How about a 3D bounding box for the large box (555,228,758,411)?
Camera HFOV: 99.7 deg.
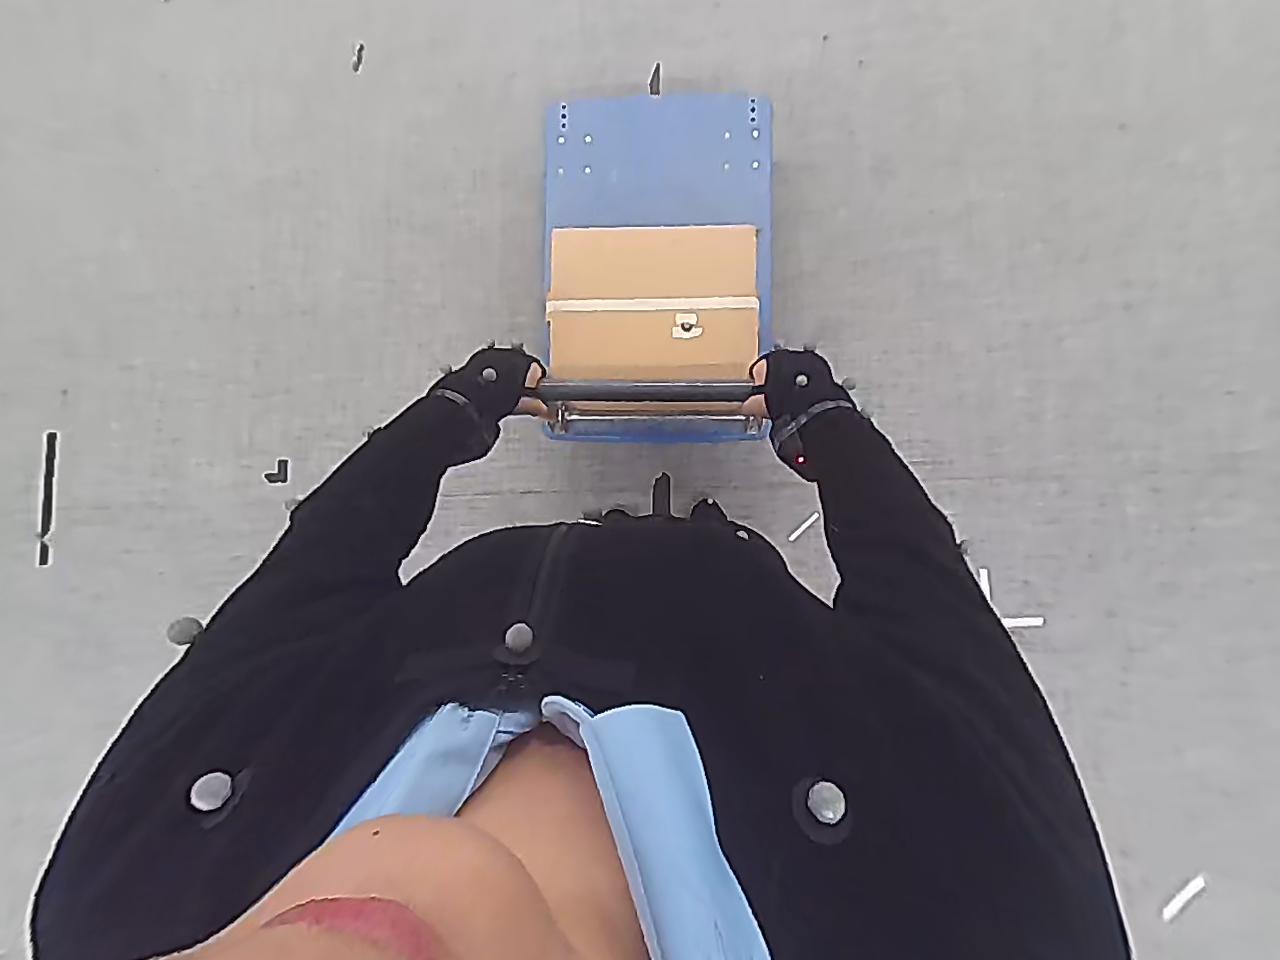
[{"bbox_3d":[0.034,-0.336,1.215,0.408,0.320,0.320,0,88,2],"label":"large box"}]
